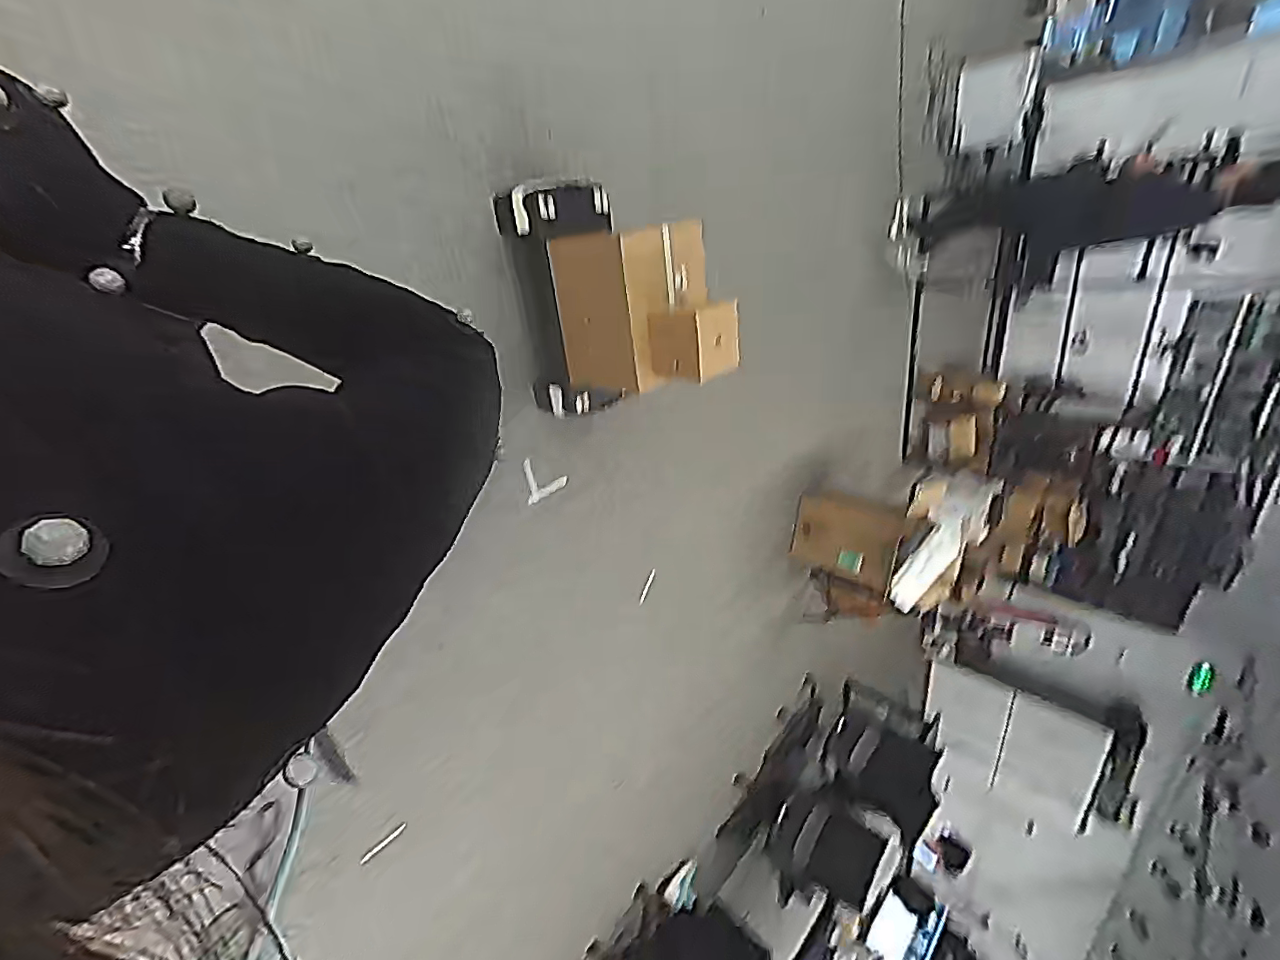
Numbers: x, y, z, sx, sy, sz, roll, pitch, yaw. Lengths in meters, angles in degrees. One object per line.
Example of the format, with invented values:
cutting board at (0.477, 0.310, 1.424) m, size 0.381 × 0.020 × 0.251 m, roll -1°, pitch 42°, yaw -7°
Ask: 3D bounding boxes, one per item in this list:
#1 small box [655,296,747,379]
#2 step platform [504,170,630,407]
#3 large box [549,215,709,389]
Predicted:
small box at (0.159, -0.377, 1.411) m, size 0.168 × 0.176 × 0.179 m, roll -28°, pitch 121°, yaw -36°
step platform at (-0.205, -0.574, 1.684) m, size 0.286 × 0.204 × 0.684 m, roll -24°, pitch 118°, yaw -39°
large box at (-0.015, -0.507, 1.551) m, size 0.320 × 0.320 × 0.408 m, roll -30°, pitch 122°, yaw -37°
